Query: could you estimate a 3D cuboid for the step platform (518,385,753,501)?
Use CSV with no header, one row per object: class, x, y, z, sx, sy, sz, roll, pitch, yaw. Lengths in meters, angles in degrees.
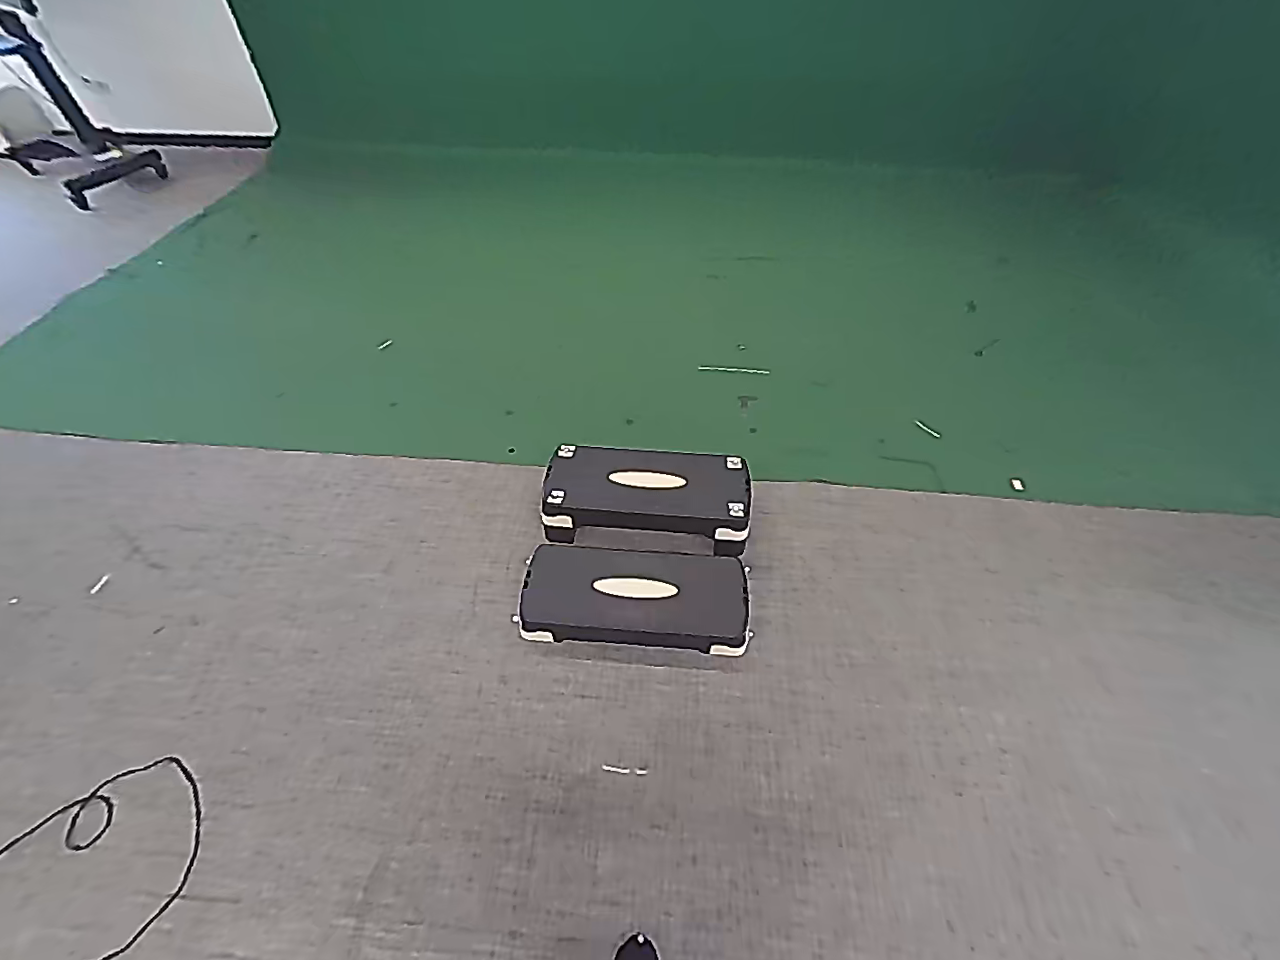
step platform,-0.010,-0.111,1.660,0.684,0.204,0.286,4,50,3
